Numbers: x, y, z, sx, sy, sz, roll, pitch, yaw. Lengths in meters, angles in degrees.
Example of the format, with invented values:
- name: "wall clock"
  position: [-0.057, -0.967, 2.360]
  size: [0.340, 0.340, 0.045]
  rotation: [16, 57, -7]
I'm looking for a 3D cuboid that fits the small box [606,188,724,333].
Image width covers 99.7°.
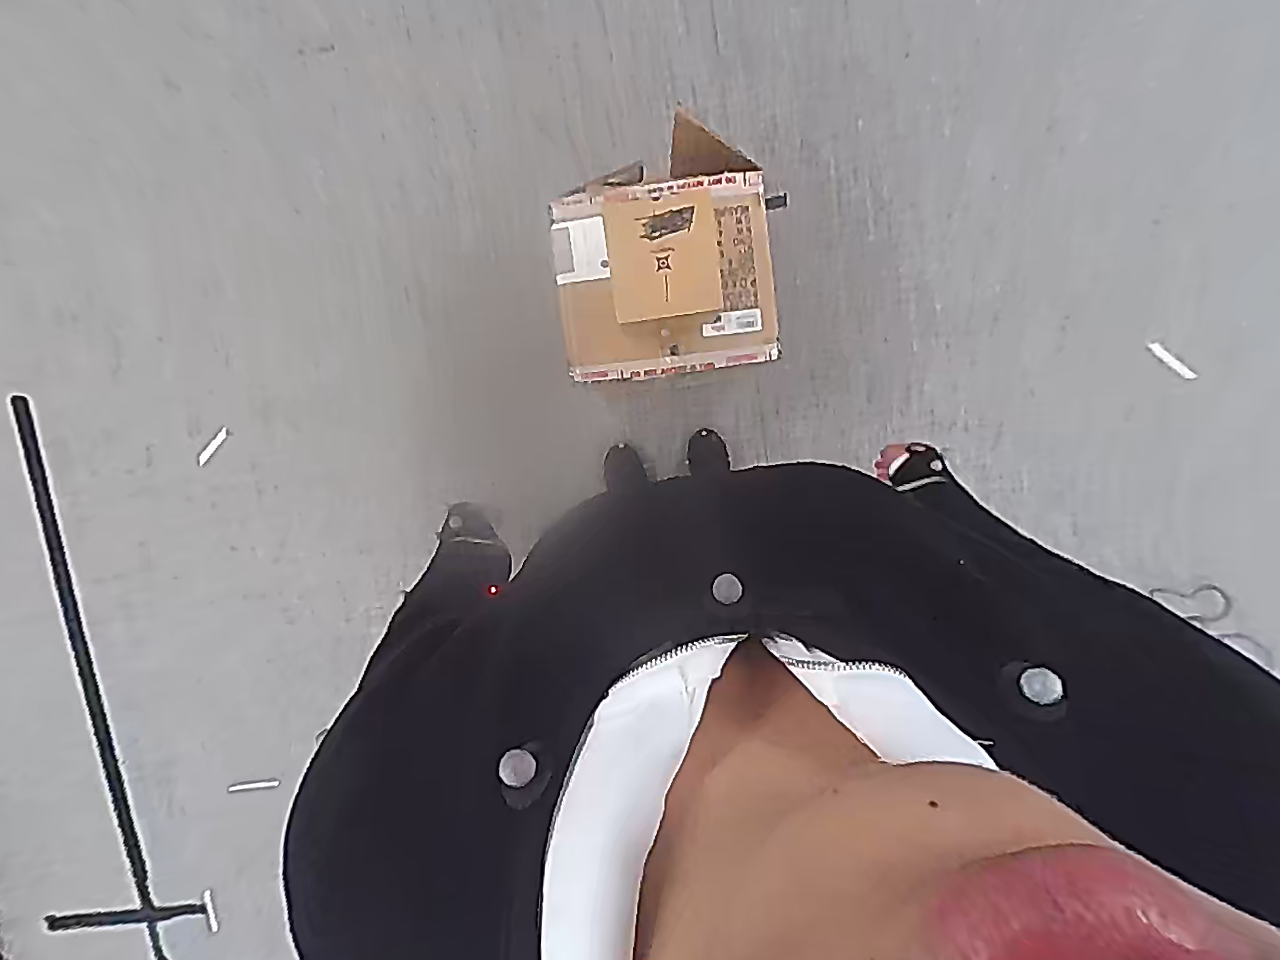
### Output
- name: "small box"
  position: [0.039, -0.347, 0.886]
  size: [0.168, 0.176, 0.179]
  rotation: [-7, 99, 2]
